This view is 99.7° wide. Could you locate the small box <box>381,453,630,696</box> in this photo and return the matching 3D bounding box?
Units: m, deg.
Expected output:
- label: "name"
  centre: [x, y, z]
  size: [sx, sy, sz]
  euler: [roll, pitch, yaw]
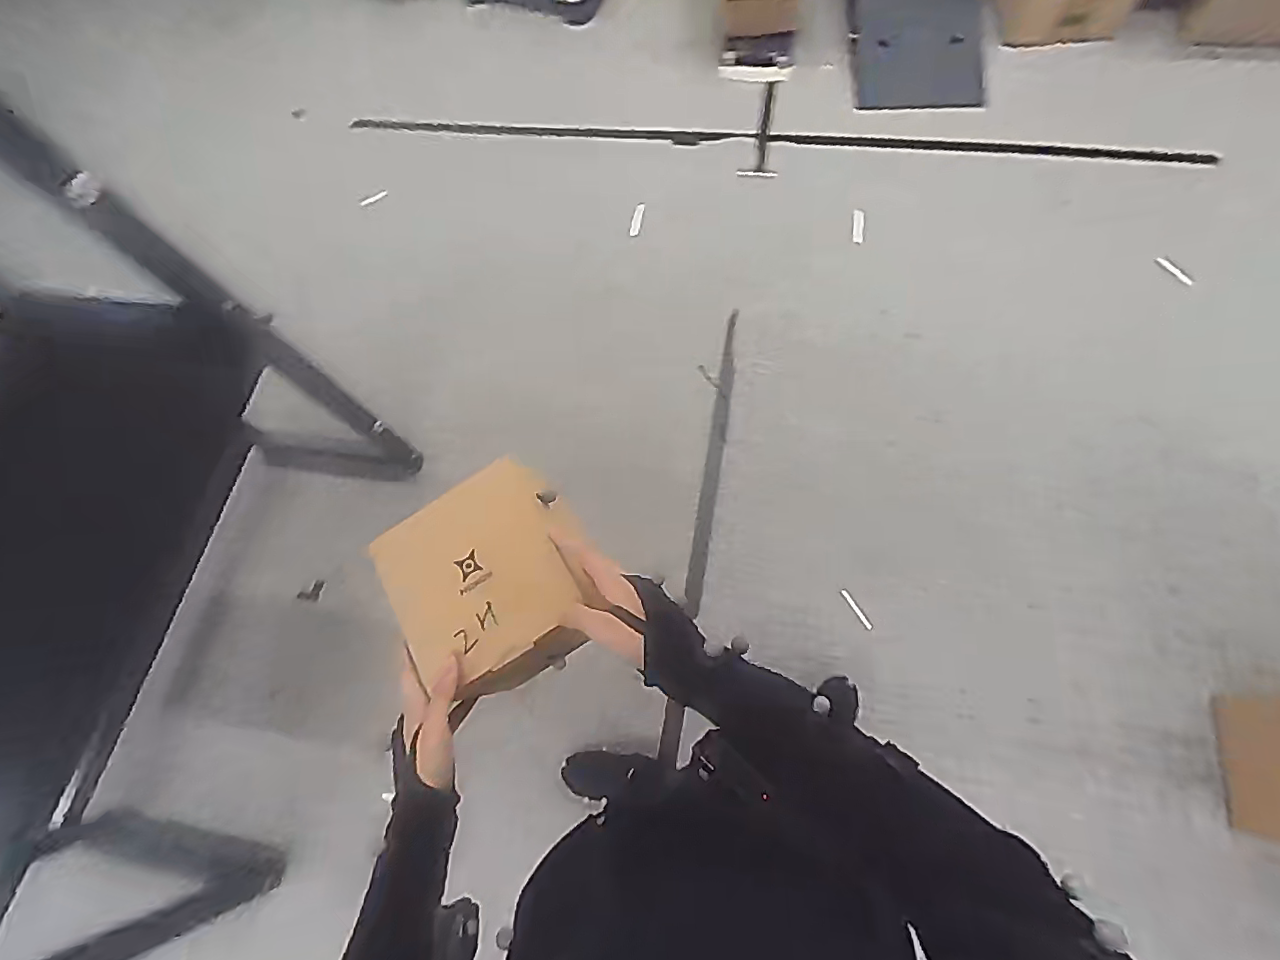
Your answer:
- label: "small box"
  centre: [-0.132, 0.105, 0.578]
  size: [0.168, 0.176, 0.179]
  euler: [-32, 70, 1]
